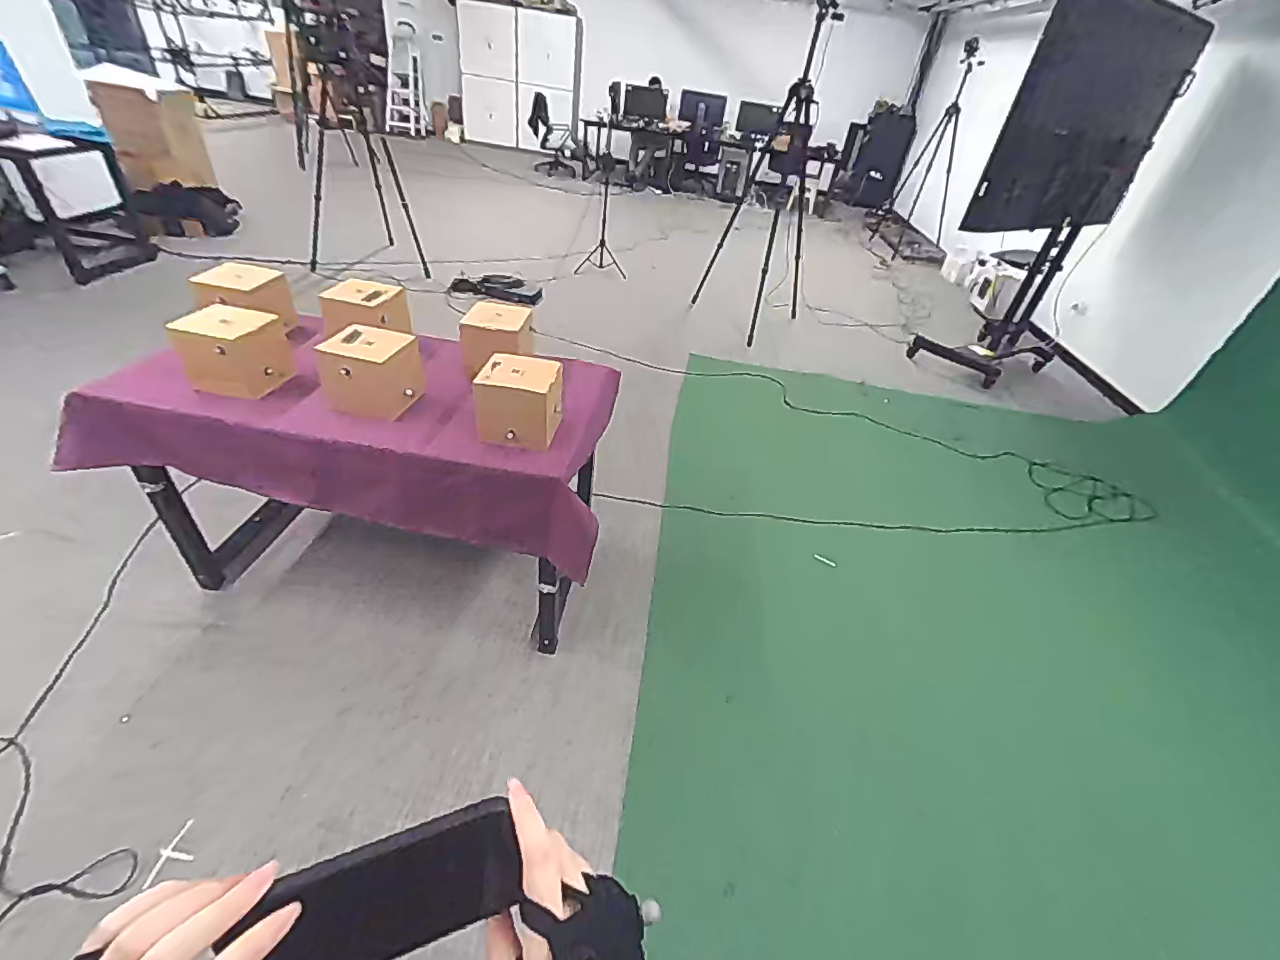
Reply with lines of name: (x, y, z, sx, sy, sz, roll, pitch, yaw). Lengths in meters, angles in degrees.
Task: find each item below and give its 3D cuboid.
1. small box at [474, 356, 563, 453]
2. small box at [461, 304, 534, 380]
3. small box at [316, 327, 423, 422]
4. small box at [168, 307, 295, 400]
small box: (-0.297, -0.186, 1.347, 0.179, 0.176, 0.168, 10, 37, 1)
small box: (-0.415, -0.397, 1.595, 0.168, 0.176, 0.179, 8, 38, 0)
small box: (-0.678, -0.267, 1.377, 0.179, 0.176, 0.168, 13, 38, 4)
small box: (-1.027, -0.320, 1.377, 0.179, 0.176, 0.168, 12, 37, 2)
